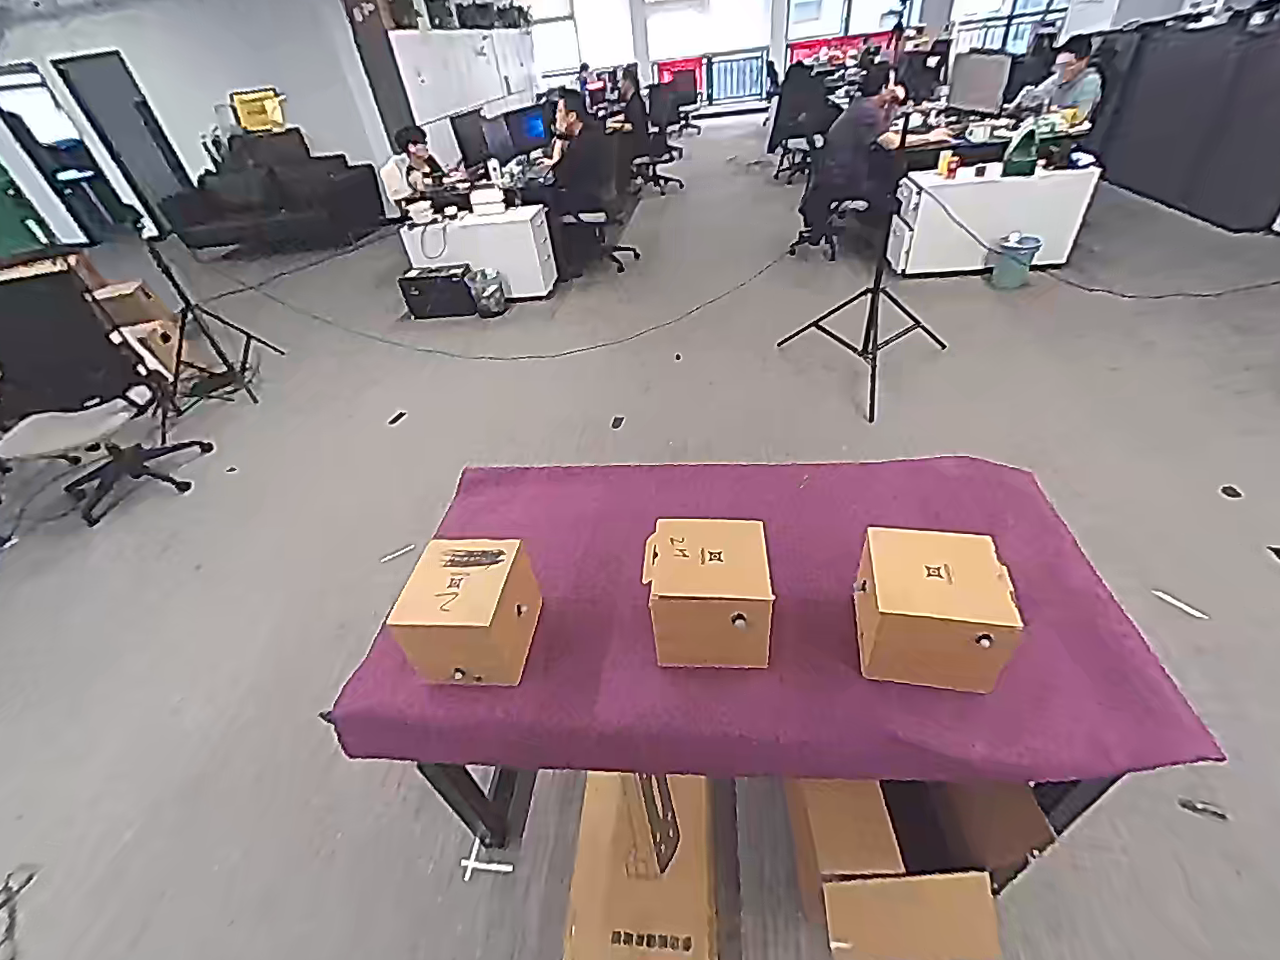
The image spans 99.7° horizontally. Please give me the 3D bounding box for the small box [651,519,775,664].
[{"bbox_3d":[0.117,0.180,0.872,0.179,0.176,0.168,-2,37,8],"label":"small box"}]

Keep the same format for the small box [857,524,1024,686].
[{"bbox_3d":[0.430,0.187,0.812,0.179,0.176,0.168,3,40,13],"label":"small box"}]
